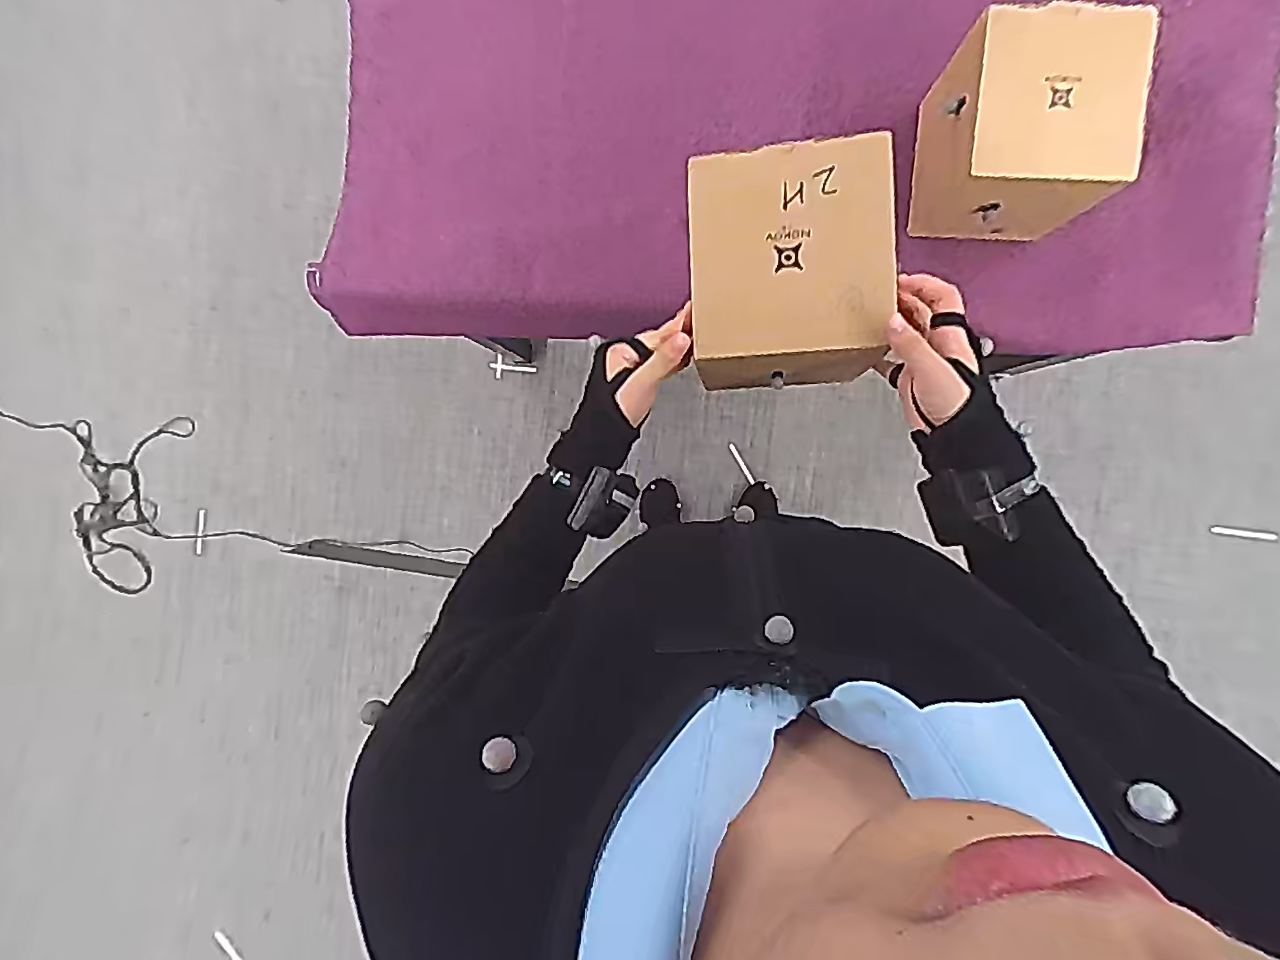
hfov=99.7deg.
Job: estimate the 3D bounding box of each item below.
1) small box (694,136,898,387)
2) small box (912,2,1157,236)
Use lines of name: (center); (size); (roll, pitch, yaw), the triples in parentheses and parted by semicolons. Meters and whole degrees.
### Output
small box: (0.142, -0.190, 0.528); (0.168, 0.176, 0.179); (-1, 88, 9)
small box: (0.442, -0.406, 0.637); (0.168, 0.176, 0.179); (5, 93, 5)
